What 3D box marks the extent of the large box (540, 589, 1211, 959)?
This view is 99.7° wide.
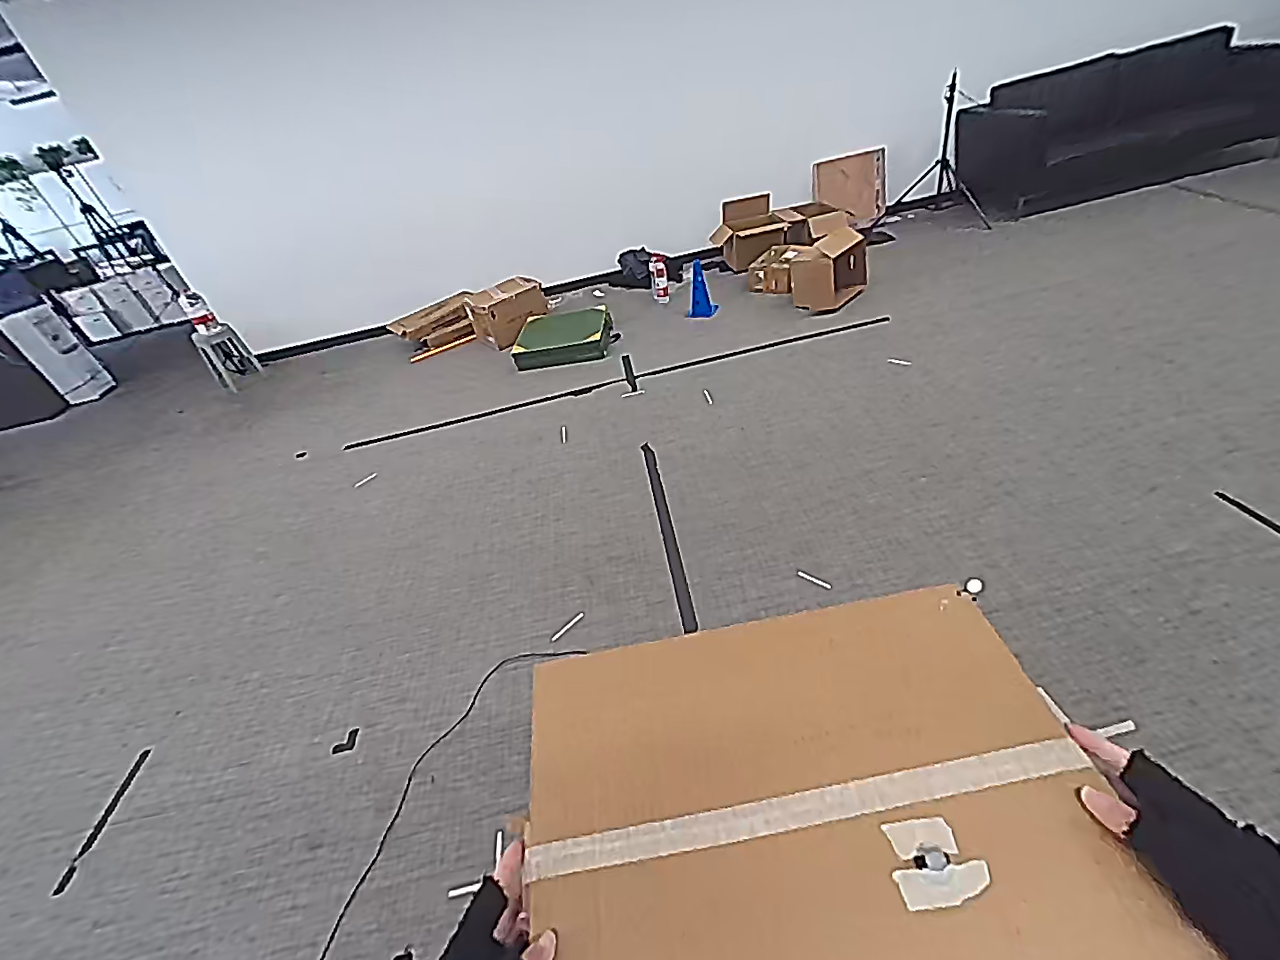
[{"bbox_3d":[0.140,0.351,0.500,0.408,0.320,0.320,-11,43,-1],"label":"large box"}]
